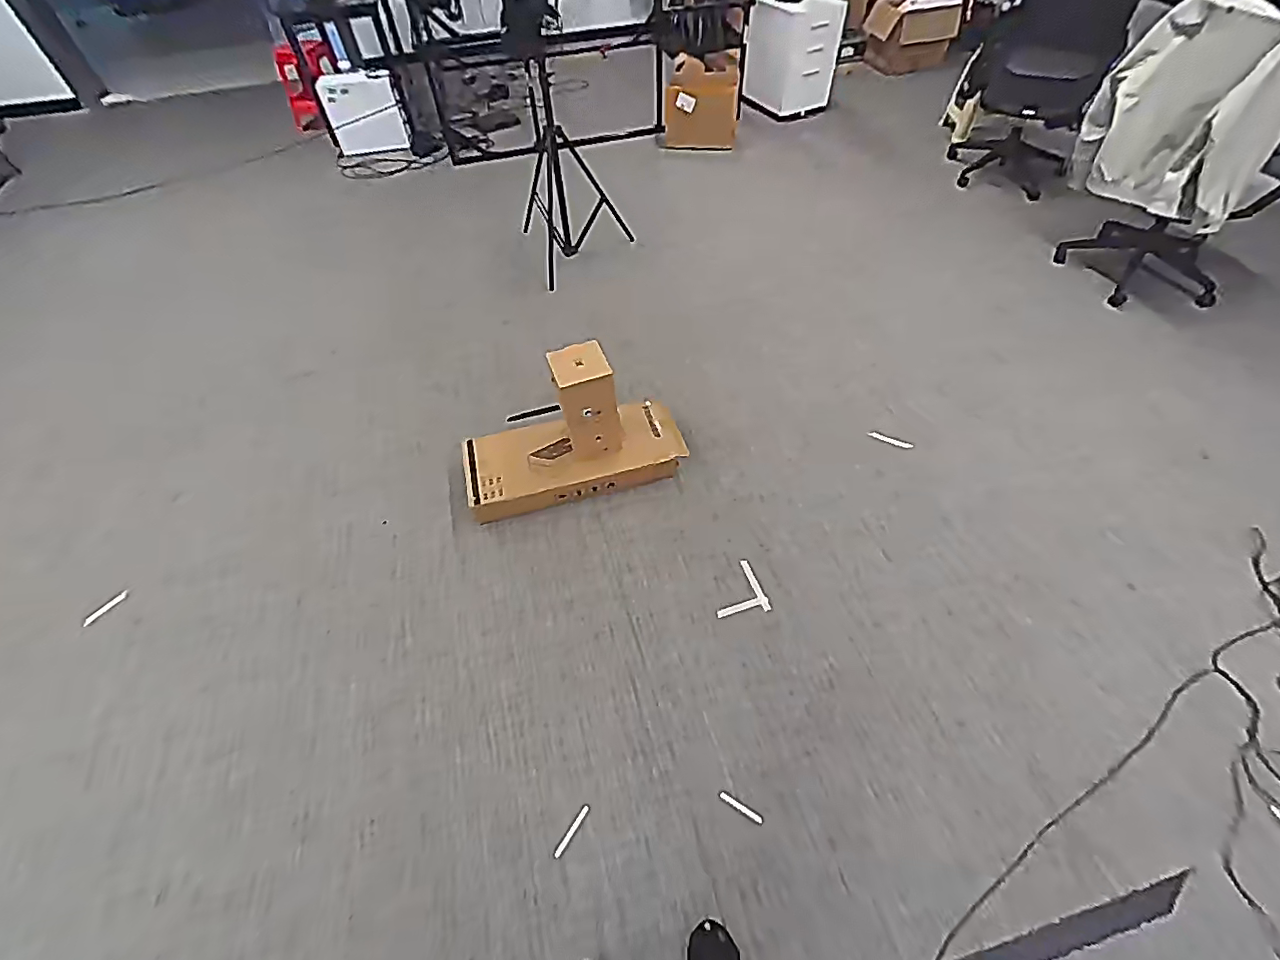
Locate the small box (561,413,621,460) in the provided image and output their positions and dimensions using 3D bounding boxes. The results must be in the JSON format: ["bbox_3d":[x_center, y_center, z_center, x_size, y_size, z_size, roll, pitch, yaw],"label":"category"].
[{"bbox_3d":[-0.165,-0.186,1.809,0.168,0.176,0.179,-16,53,-10],"label":"small box"}]

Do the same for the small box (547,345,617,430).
[{"bbox_3d":[-0.179,-0.286,1.681,0.168,0.176,0.179,-19,53,-11],"label":"small box"}]
